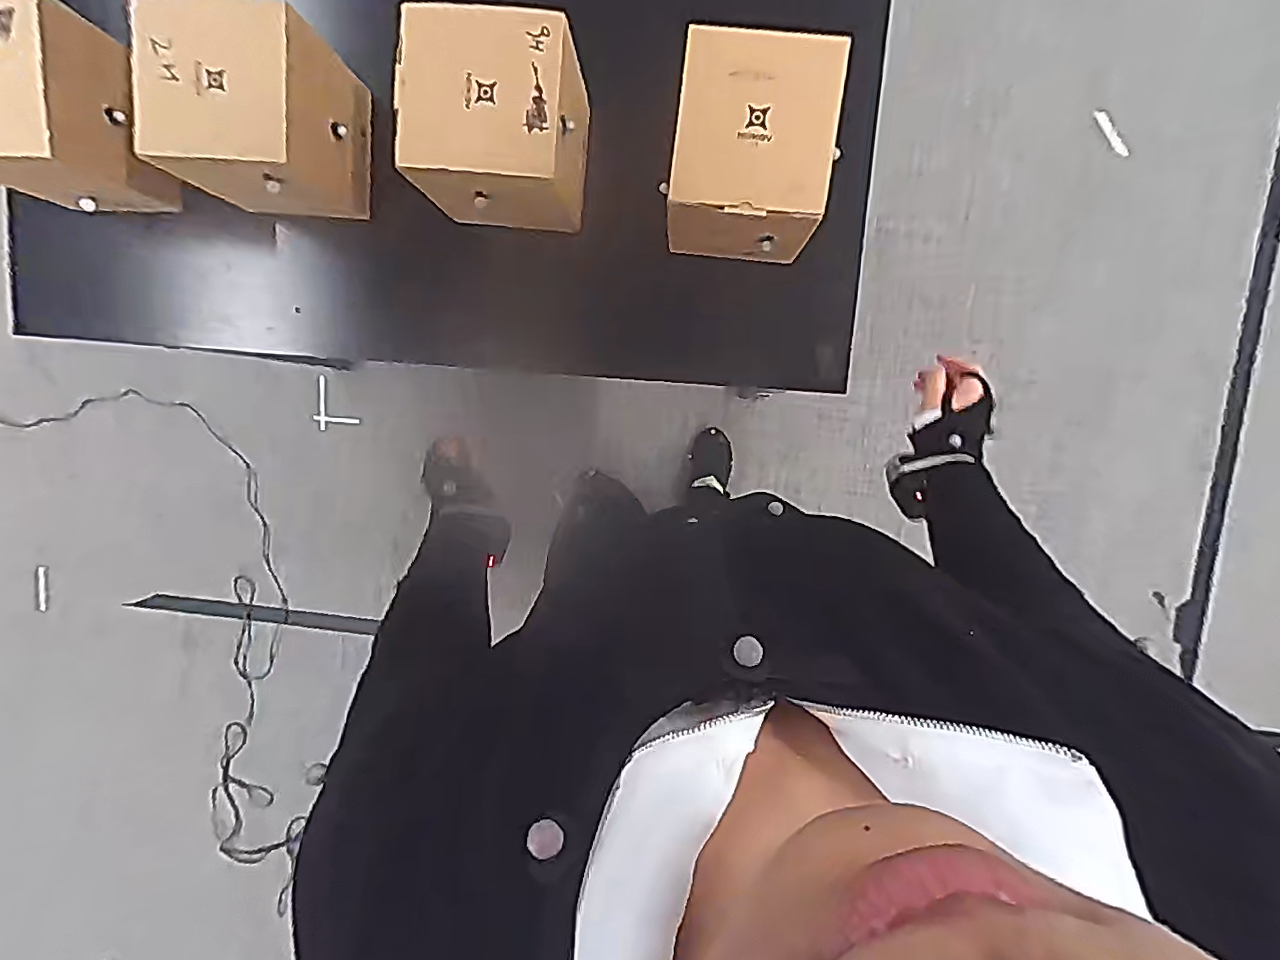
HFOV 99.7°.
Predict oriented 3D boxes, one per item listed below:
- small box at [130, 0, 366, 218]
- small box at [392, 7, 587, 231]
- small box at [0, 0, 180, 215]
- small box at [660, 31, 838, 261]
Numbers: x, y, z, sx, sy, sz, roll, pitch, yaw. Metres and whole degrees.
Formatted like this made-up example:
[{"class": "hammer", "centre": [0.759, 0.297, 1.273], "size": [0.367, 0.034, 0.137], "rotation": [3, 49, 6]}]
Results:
[{"class": "small box", "centre": [-0.462, -0.438, 0.665], "size": [0.179, 0.176, 0.168], "rotation": [4, 96, 2]}, {"class": "small box", "centre": [-0.170, -0.417, 0.653], "size": [0.179, 0.176, 0.168], "rotation": [6, 97, 3]}, {"class": "small box", "centre": [-0.728, -0.457, 0.678], "size": [0.168, 0.176, 0.179], "rotation": [2, 97, 3]}, {"class": "small box", "centre": [0.117, -0.376, 0.642], "size": [0.168, 0.176, 0.179], "rotation": [7, 95, 2]}]
